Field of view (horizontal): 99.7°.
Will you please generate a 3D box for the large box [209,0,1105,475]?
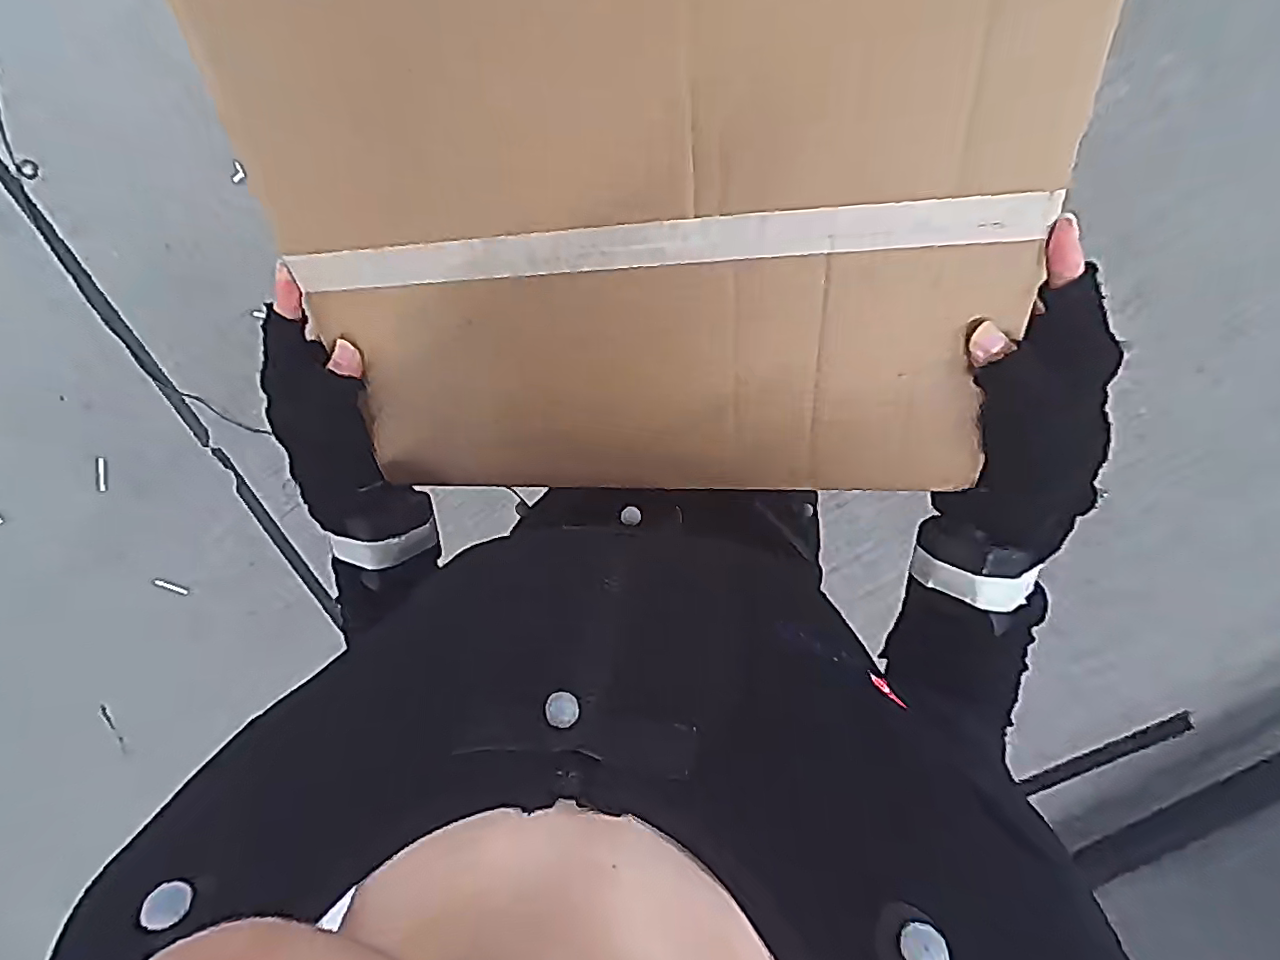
[{"bbox_3d":[0.019,-0.214,0.414,0.408,0.320,0.320,1,126,10],"label":"large box"}]
